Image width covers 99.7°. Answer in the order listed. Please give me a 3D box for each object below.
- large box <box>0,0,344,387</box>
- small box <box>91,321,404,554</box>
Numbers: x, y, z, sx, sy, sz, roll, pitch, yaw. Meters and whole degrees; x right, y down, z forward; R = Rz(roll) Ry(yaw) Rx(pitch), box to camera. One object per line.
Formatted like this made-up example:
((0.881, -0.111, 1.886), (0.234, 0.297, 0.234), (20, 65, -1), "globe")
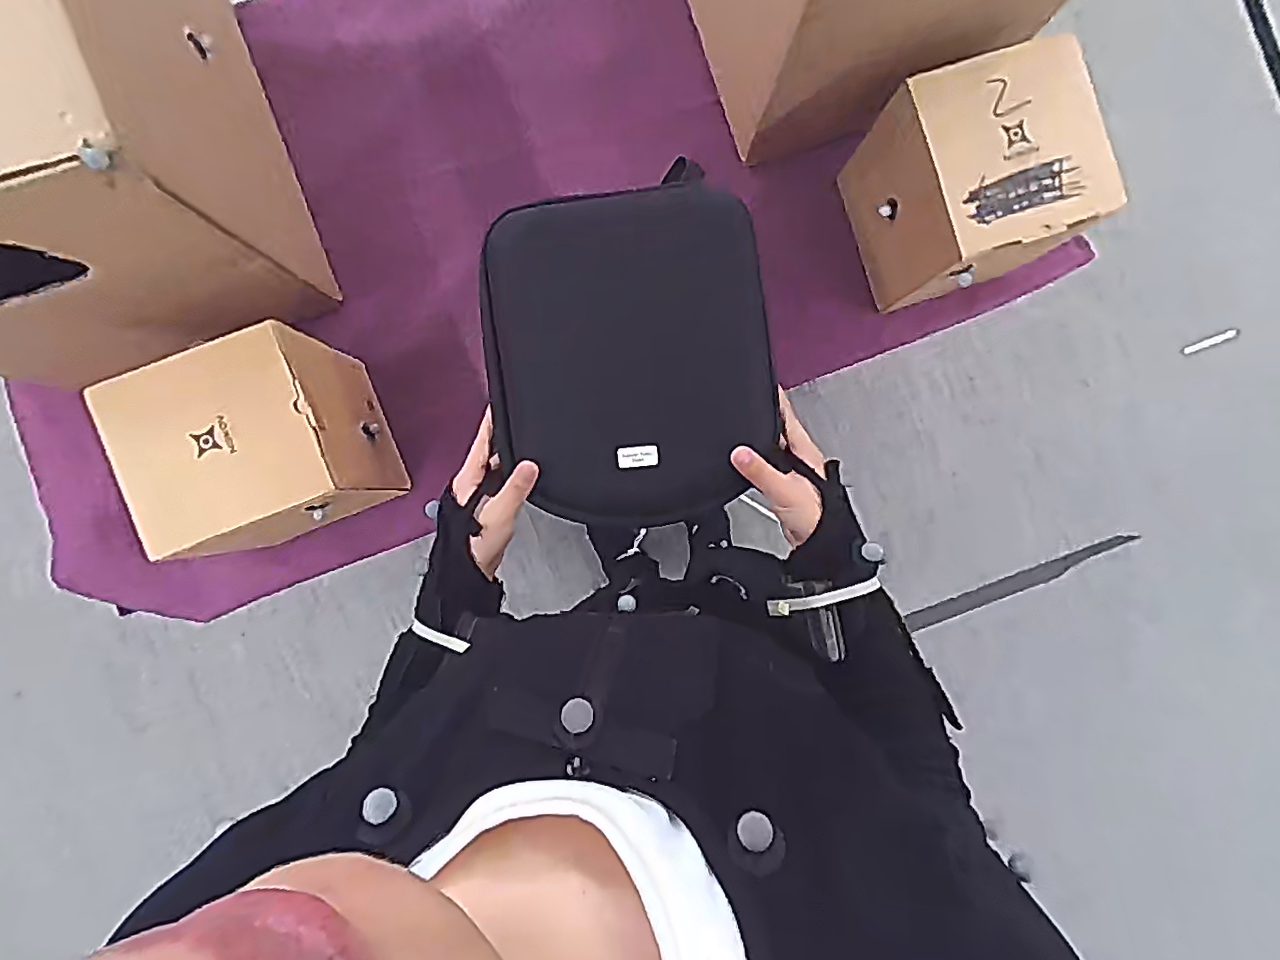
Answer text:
((-0.552, -0.340, 0.488), (0.320, 0.320, 0.408), (-21, 93, -3), "large box")
((-0.385, -0.036, 0.565), (0.179, 0.176, 0.168), (-23, 90, -3), "small box")
